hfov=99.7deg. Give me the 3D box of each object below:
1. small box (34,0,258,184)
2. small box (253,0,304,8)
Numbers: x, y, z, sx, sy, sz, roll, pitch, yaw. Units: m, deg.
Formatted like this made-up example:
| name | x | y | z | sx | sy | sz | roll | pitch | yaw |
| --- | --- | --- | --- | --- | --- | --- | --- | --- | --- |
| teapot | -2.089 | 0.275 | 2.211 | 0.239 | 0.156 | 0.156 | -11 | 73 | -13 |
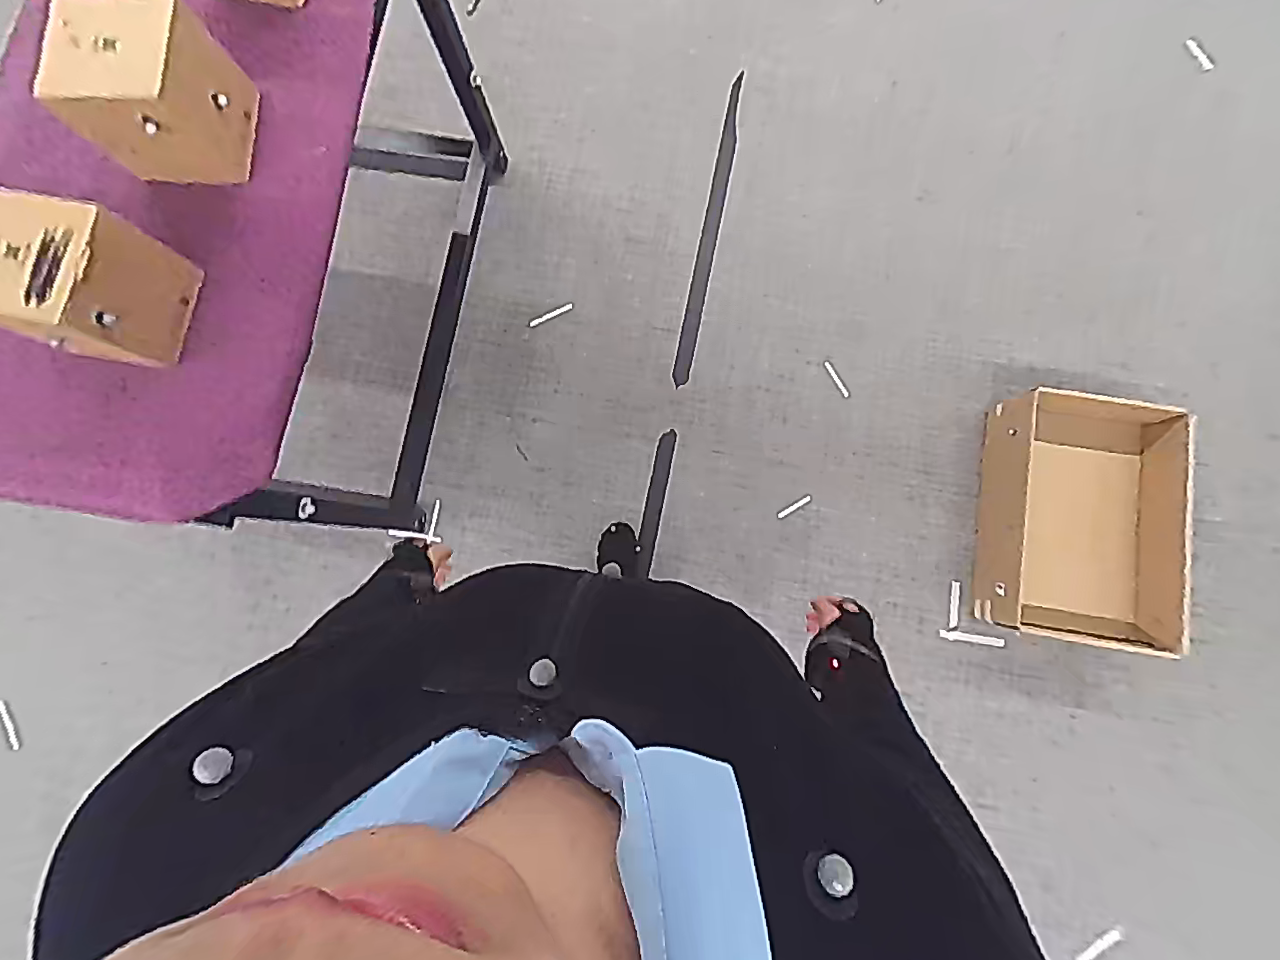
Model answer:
| name | x | y | z | sx | sy | sz | roll | pitch | yaw |
| --- | --- | --- | --- | --- | --- | --- | --- | --- | --- |
| small box | -0.719 | -0.572 | 0.810 | 0.179 | 0.176 | 0.168 | 1 | 81 | 2 |
| small box | -0.644 | -0.905 | 0.857 | 0.179 | 0.176 | 0.168 | 14 | 83 | 4 |
